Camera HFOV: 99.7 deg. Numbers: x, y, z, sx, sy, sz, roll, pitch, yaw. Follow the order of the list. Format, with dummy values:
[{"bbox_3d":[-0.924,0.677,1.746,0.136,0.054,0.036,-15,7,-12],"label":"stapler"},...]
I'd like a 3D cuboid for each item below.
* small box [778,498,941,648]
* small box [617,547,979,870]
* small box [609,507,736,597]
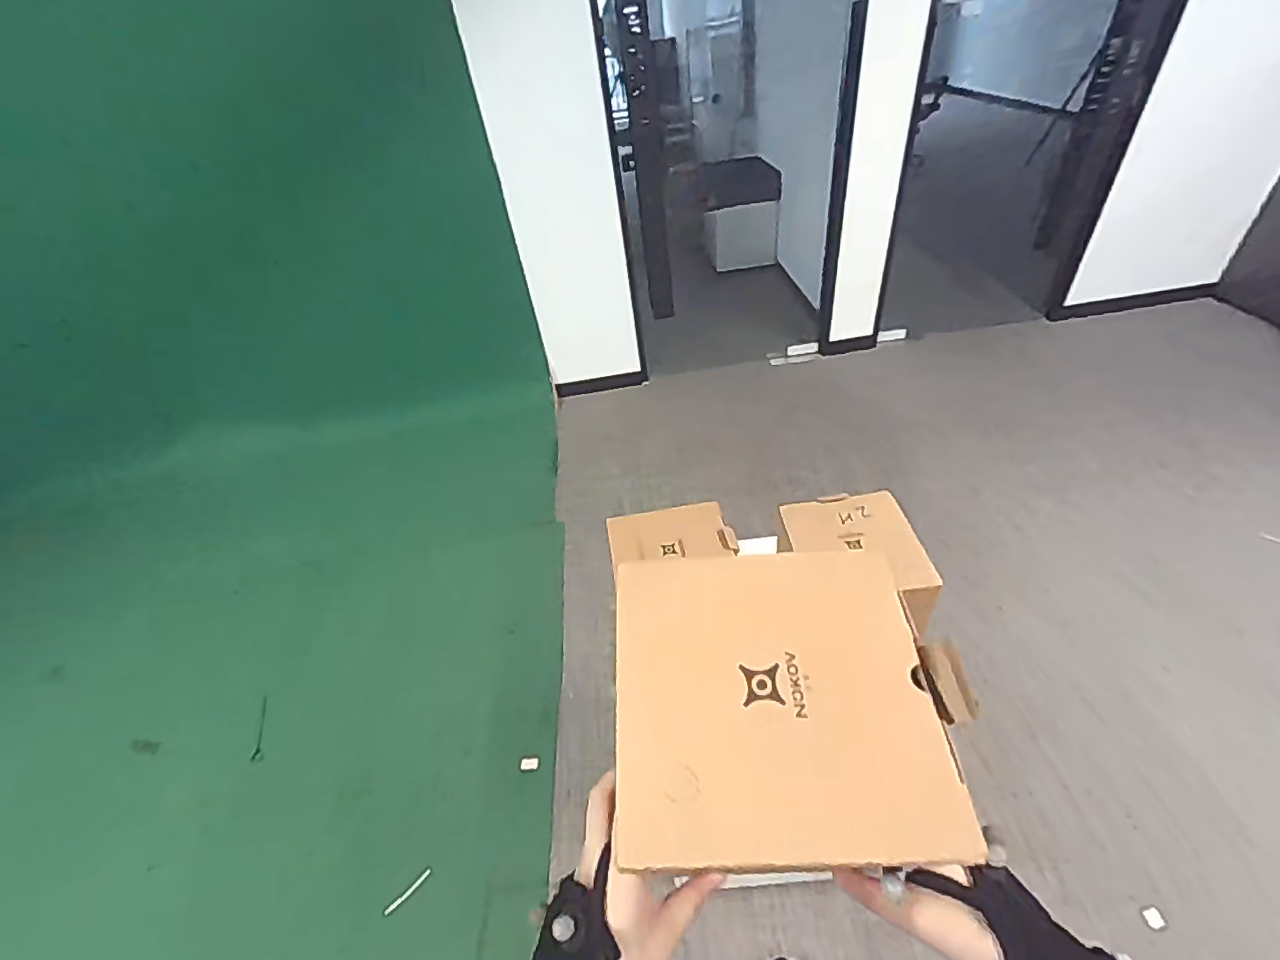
[{"bbox_3d":[0.303,0.155,0.787,0.168,0.176,0.179,-8,41,3],"label":"small box"},{"bbox_3d":[0.081,0.162,0.370,0.179,0.176,0.168,-4,53,2],"label":"small box"},{"bbox_3d":[0.055,0.167,0.819,0.179,0.176,0.168,-10,40,-2],"label":"small box"}]
